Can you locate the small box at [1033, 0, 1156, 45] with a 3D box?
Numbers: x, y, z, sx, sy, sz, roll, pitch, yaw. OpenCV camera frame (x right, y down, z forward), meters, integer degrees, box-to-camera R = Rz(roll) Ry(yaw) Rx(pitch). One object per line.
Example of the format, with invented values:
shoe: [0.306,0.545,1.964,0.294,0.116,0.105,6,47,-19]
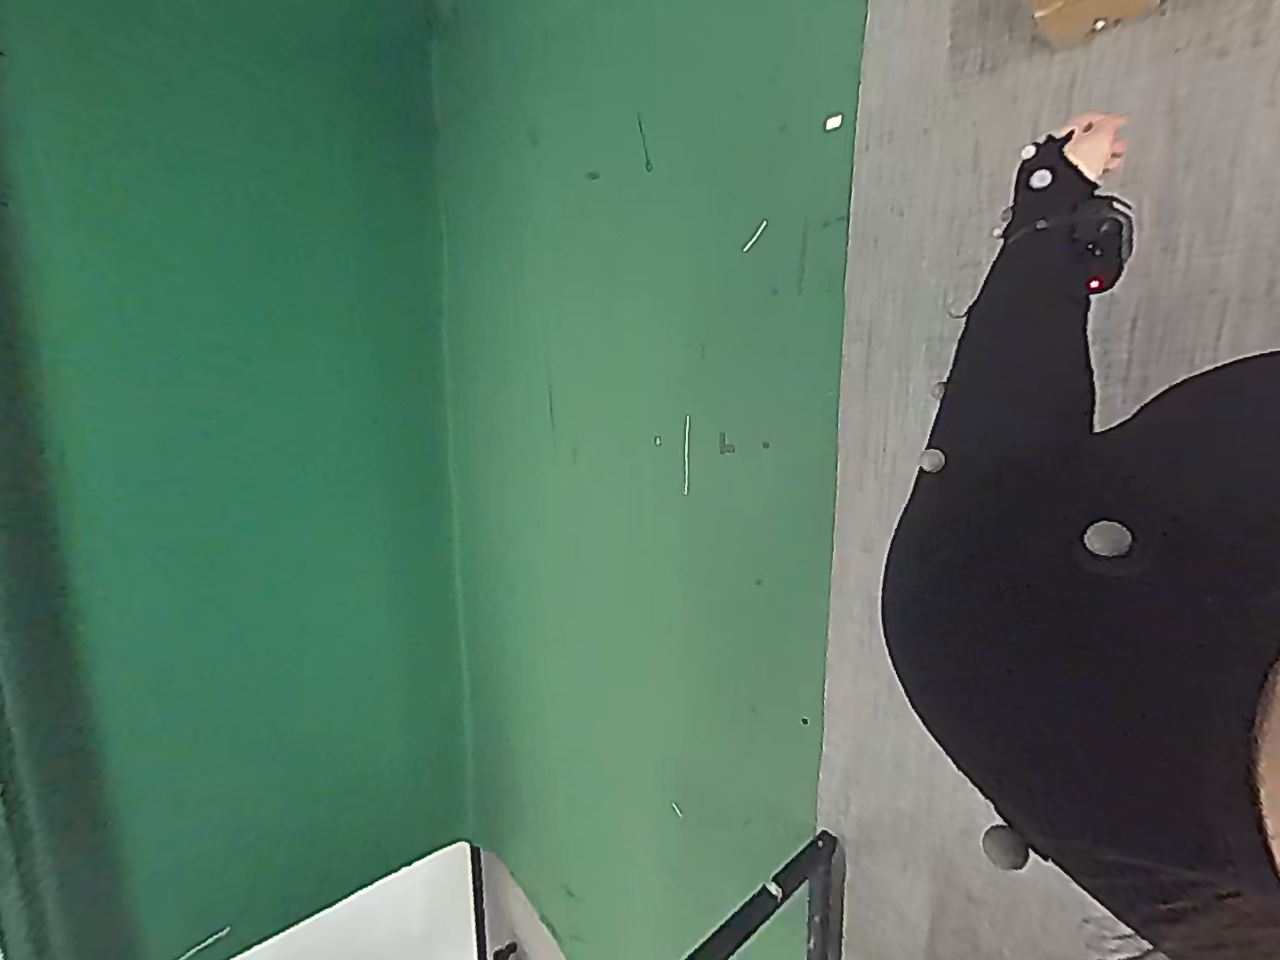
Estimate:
small box: [0.879,-0.997,1.037,0.168,0.176,0.179,4,99,50]
